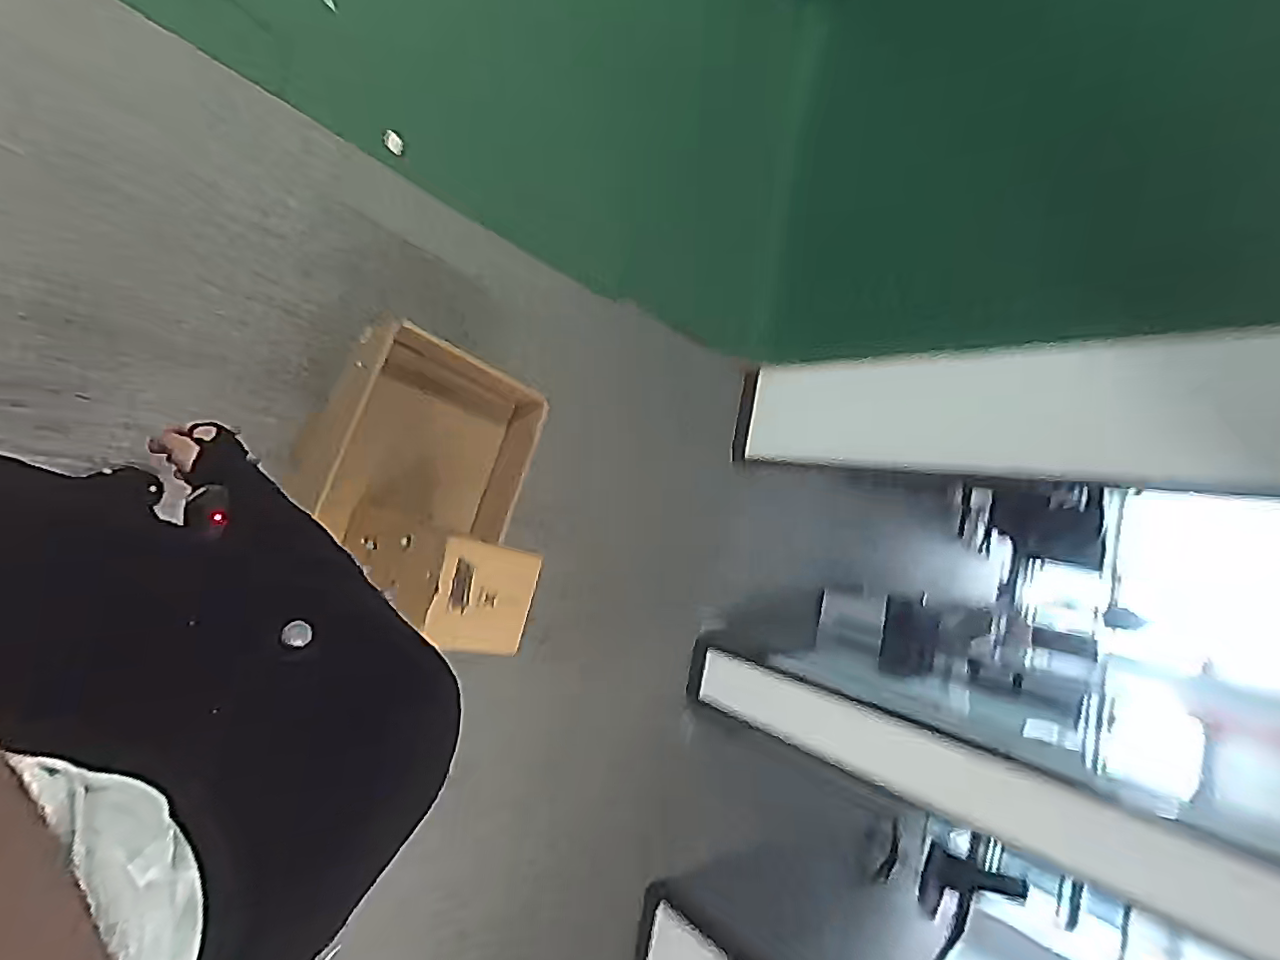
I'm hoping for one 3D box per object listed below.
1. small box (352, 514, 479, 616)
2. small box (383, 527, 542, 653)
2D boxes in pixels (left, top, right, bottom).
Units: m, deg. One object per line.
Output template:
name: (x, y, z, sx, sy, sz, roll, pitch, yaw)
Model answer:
small box: (-0.412, 0.168, 1.030, 0.179, 0.176, 0.168, 24, 78, -43)
small box: (-0.301, 0.181, 0.911, 0.179, 0.176, 0.168, 24, 78, -44)
